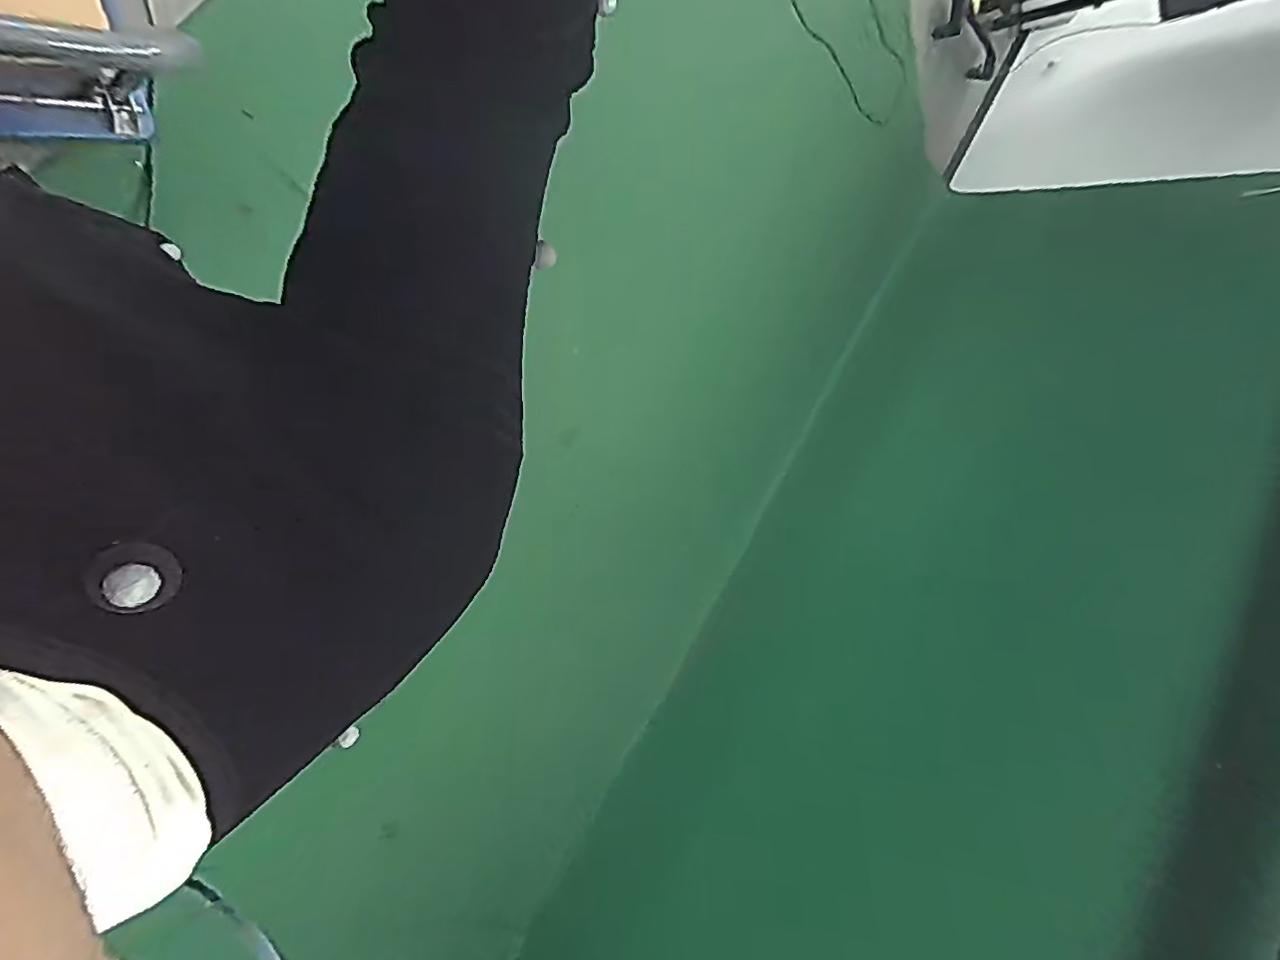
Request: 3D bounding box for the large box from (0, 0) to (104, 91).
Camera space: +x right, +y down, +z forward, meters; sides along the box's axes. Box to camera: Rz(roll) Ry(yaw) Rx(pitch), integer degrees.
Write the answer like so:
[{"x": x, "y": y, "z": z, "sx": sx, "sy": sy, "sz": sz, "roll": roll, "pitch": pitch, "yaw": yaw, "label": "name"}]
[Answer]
[{"x": -0.993, "y": -0.775, "z": 0.691, "sx": 0.320, "sy": 0.320, "sz": 0.408, "roll": -29, "pitch": 124, "yaw": -39, "label": "large box"}]
